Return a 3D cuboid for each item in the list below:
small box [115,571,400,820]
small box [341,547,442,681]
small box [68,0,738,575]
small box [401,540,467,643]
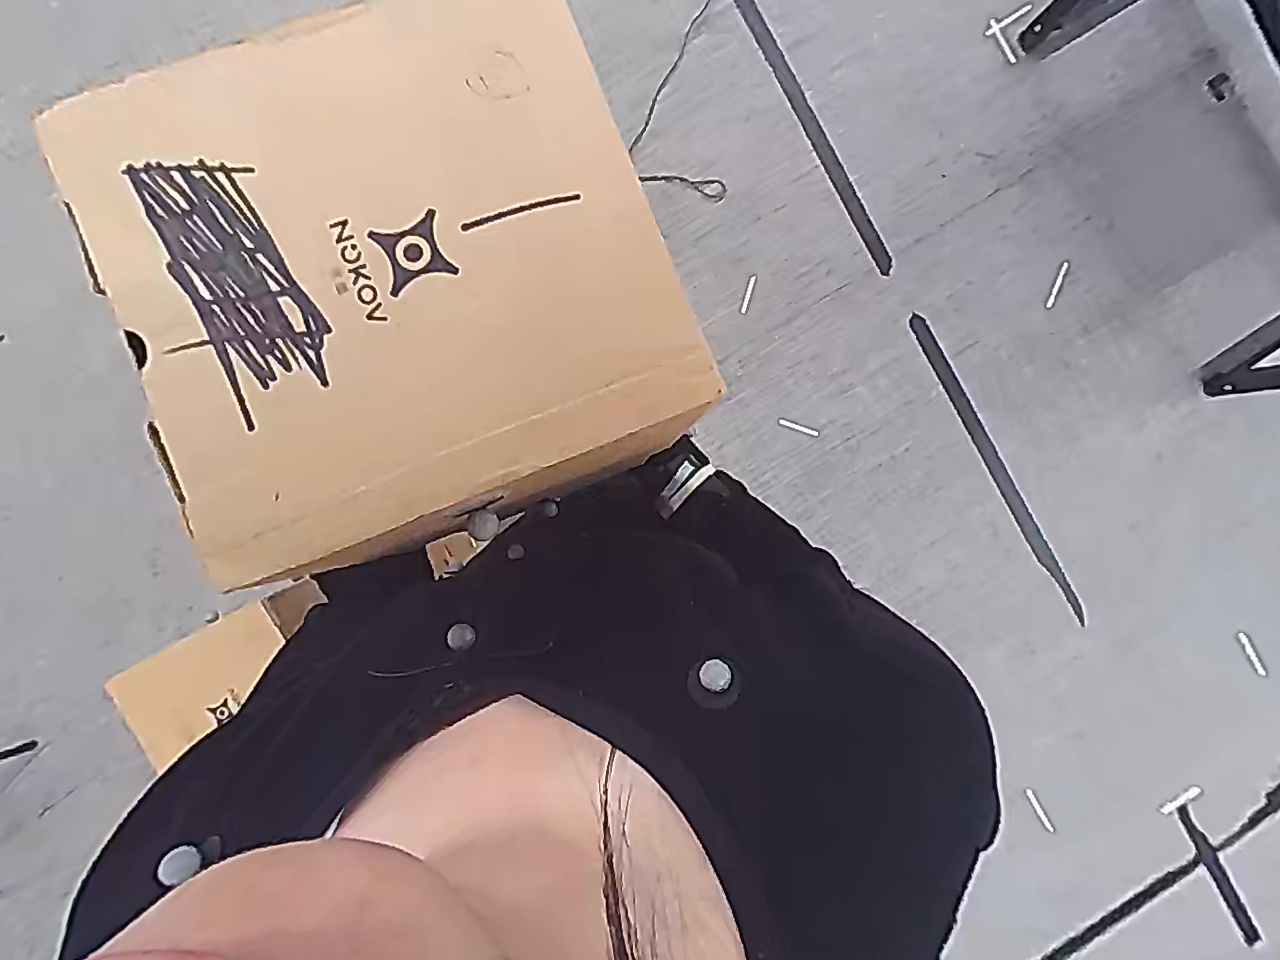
[{"bbox_3d":[-0.402,0.222,0.612,0.179,0.176,0.168,-29,93,0],"label":"small box"},{"bbox_3d":[-0.407,0.213,0.774,0.179,0.176,0.168,-29,94,-1],"label":"small box"},{"bbox_3d":[-0.079,-0.070,0.257,0.179,0.176,0.168,-22,90,-5],"label":"small box"},{"bbox_3d":[-0.418,0.212,0.936,0.179,0.176,0.168,-27,93,-3],"label":"small box"}]
